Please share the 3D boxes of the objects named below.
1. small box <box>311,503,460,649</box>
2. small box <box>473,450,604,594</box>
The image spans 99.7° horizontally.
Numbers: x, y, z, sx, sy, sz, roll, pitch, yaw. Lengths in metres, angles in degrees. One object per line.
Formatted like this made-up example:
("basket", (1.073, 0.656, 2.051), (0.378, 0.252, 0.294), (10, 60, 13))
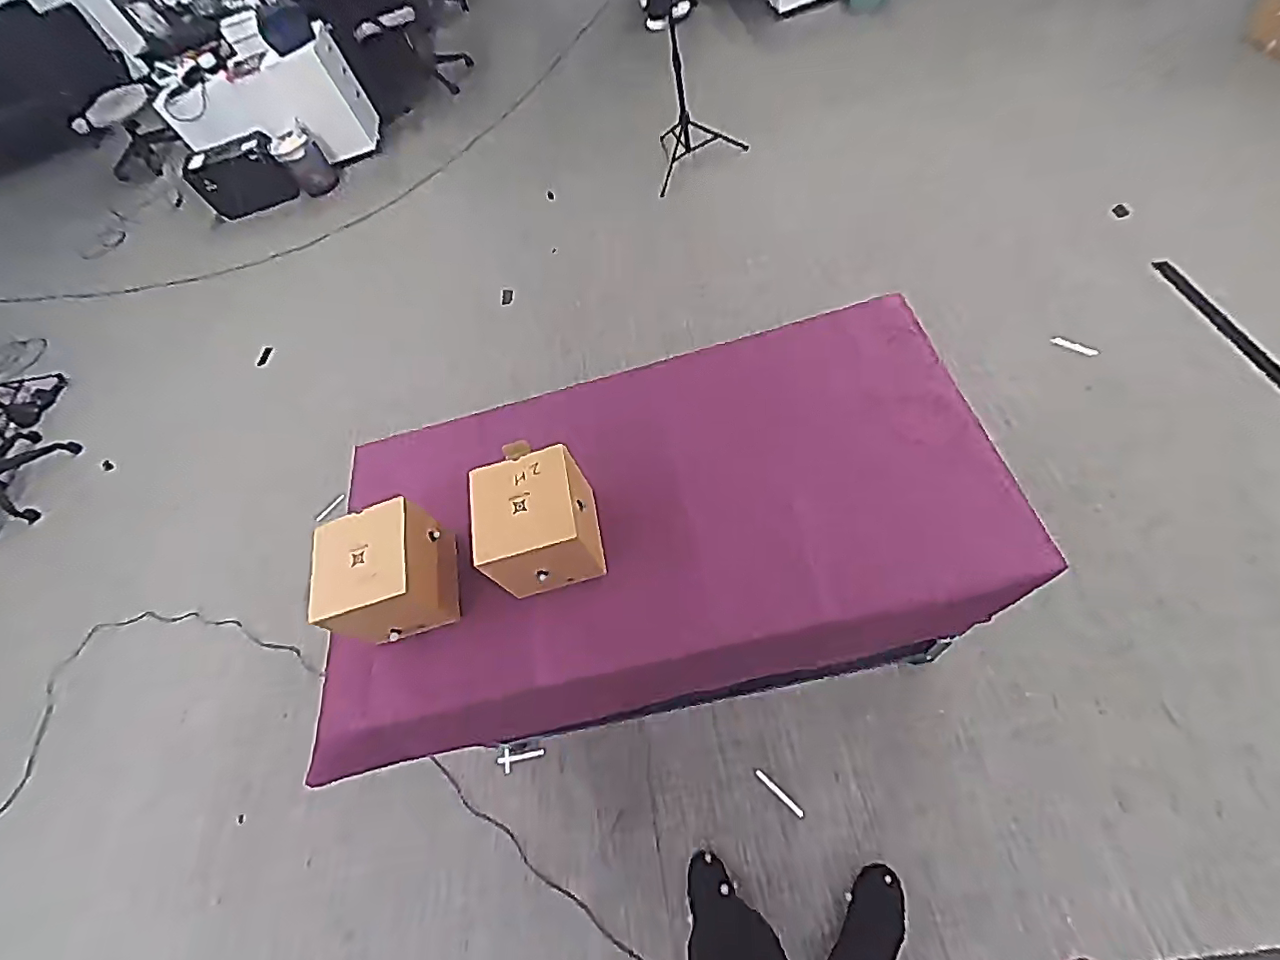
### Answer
("small box", (-0.428, 0.170, 0.936), (0.168, 0.176, 0.179), (-18, 58, 4))
("small box", (-0.168, 0.082, 0.921), (0.168, 0.176, 0.179), (-16, 58, 4))
